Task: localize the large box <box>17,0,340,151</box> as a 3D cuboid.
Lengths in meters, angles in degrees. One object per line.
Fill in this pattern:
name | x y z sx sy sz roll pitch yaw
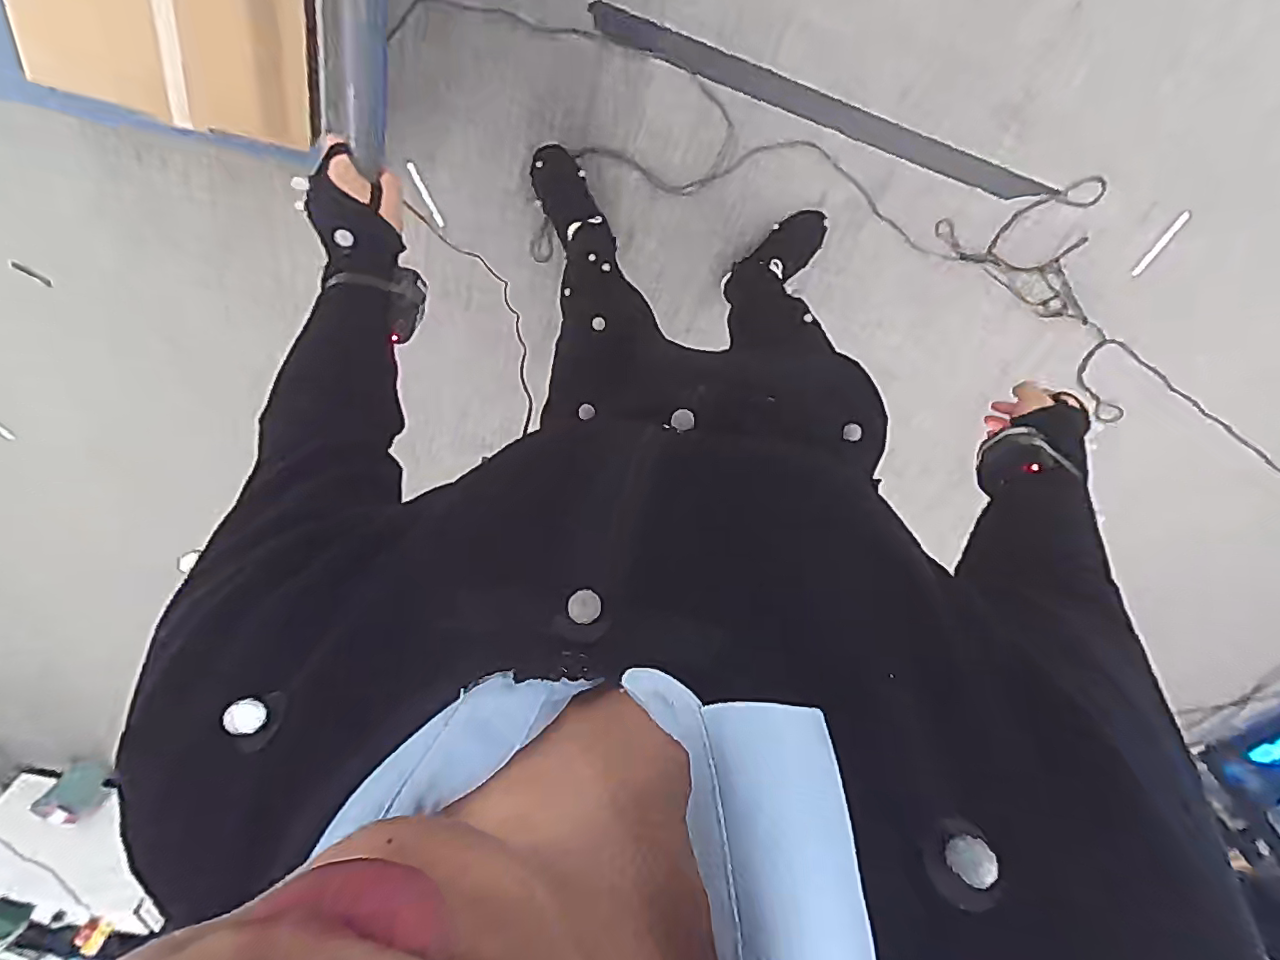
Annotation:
large box | -0.616 -0.744 0.750 0.320 0.320 0.408 2 129 -24
